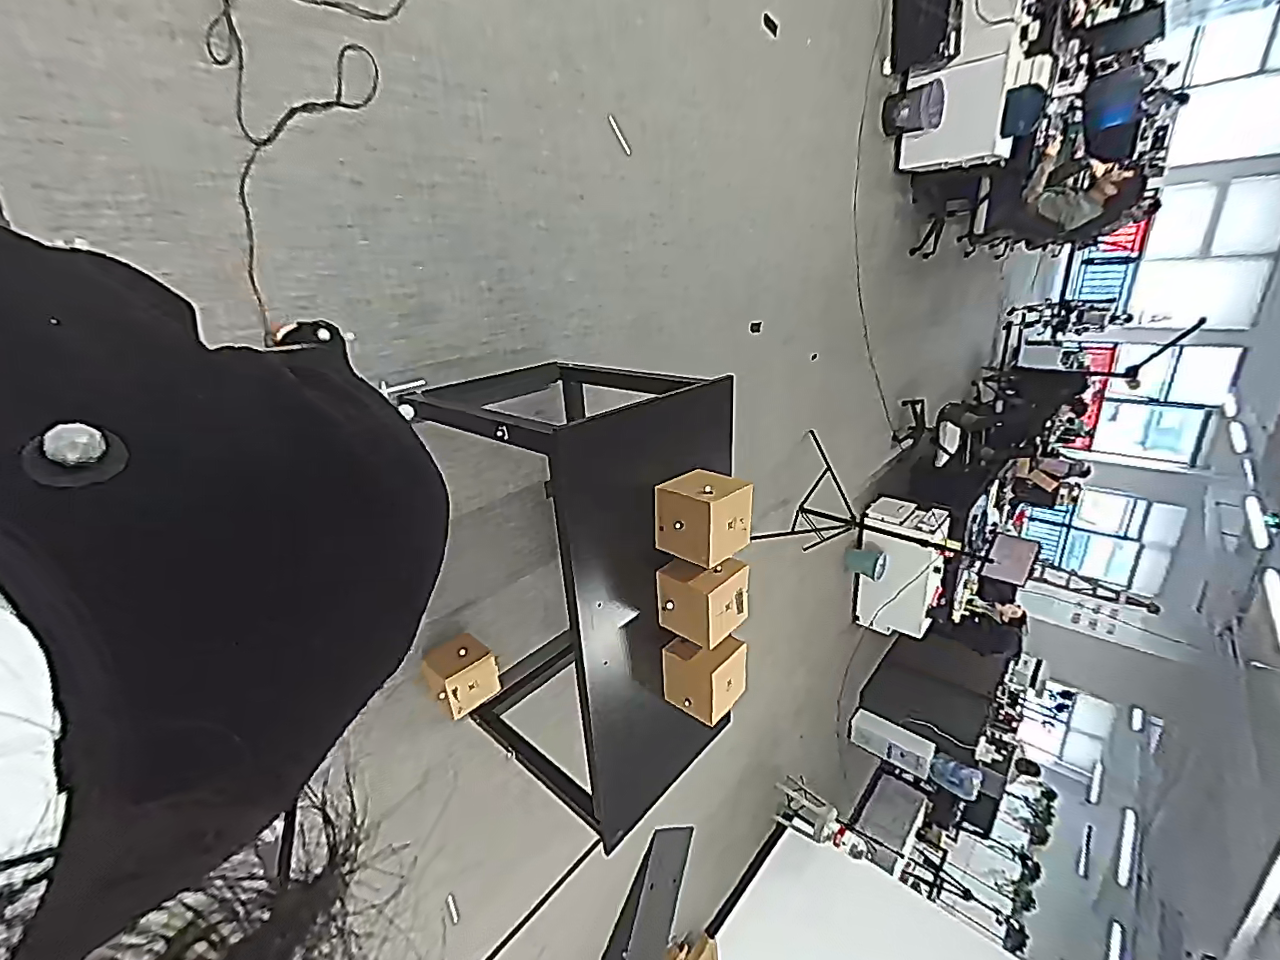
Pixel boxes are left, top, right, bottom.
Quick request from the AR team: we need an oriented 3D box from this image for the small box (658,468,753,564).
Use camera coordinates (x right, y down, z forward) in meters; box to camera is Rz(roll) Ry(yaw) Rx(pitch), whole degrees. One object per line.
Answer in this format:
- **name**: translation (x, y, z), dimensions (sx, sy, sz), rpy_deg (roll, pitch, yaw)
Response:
- **small box**: translation (0.155, 0.080, 1.316), dimensions (0.179, 0.176, 0.168), rpy_deg (-21, 118, -44)

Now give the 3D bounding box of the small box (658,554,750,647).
- **small box**: translation (0.166, 0.290, 1.396), dimensions (0.179, 0.176, 0.168), rpy_deg (-25, 119, -41)

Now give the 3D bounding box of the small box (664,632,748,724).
- **small box**: translation (0.180, 0.520, 1.489), dimensions (0.168, 0.176, 0.179), rpy_deg (-25, 119, -43)

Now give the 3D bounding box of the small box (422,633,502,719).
- **small box**: translation (-0.585, 0.635, 1.777), dimensions (0.179, 0.176, 0.168), rpy_deg (-26, 120, -42)
